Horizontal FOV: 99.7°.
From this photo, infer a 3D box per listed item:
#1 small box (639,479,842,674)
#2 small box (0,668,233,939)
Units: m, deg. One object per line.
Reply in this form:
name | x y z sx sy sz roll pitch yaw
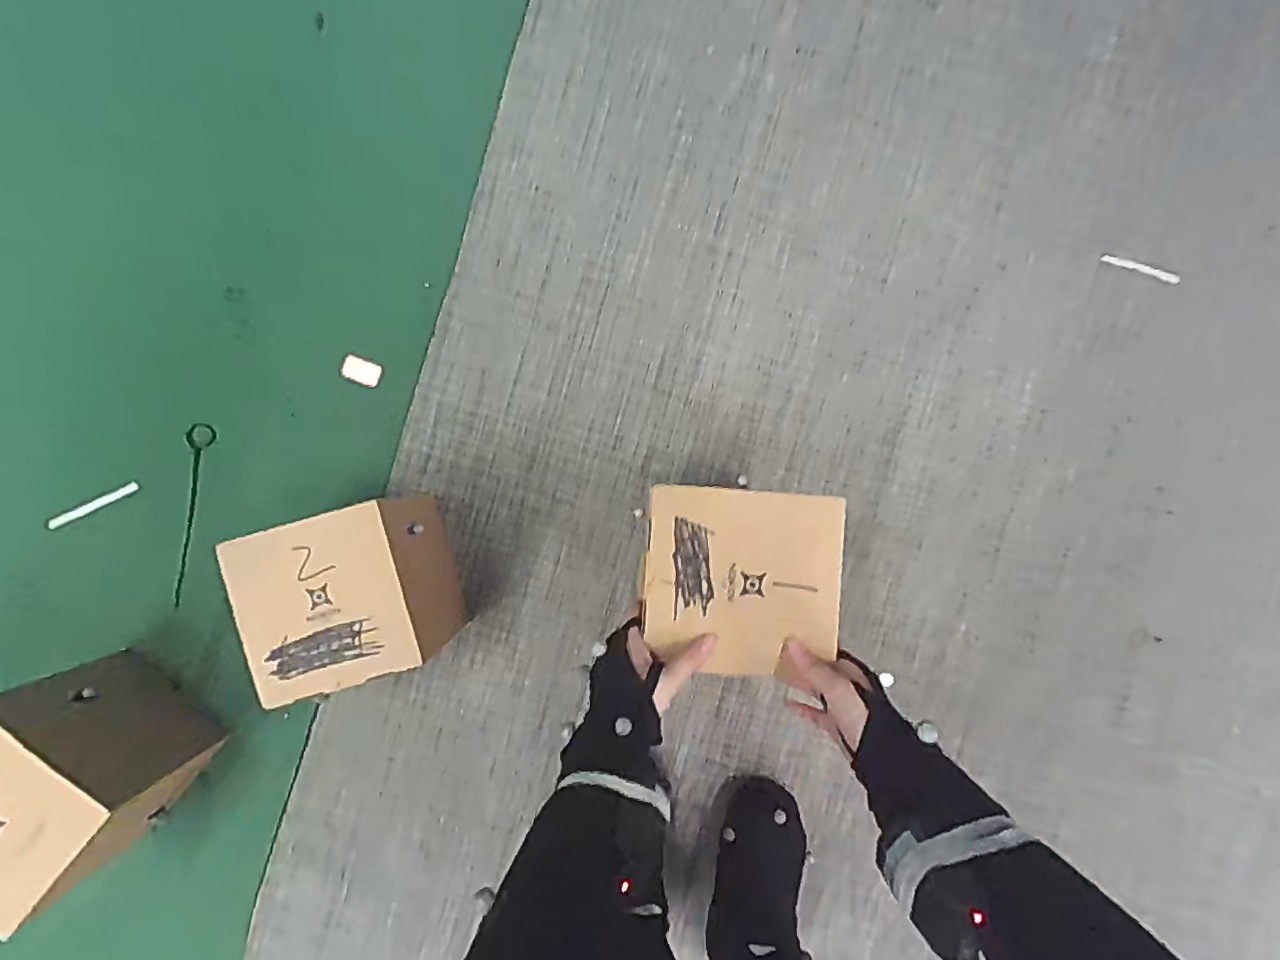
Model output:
small box | 0.091 0.089 0.567 0.179 0.176 0.168 4 89 -1
small box | -0.633 0.340 0.614 0.179 0.176 0.168 40 89 -1
